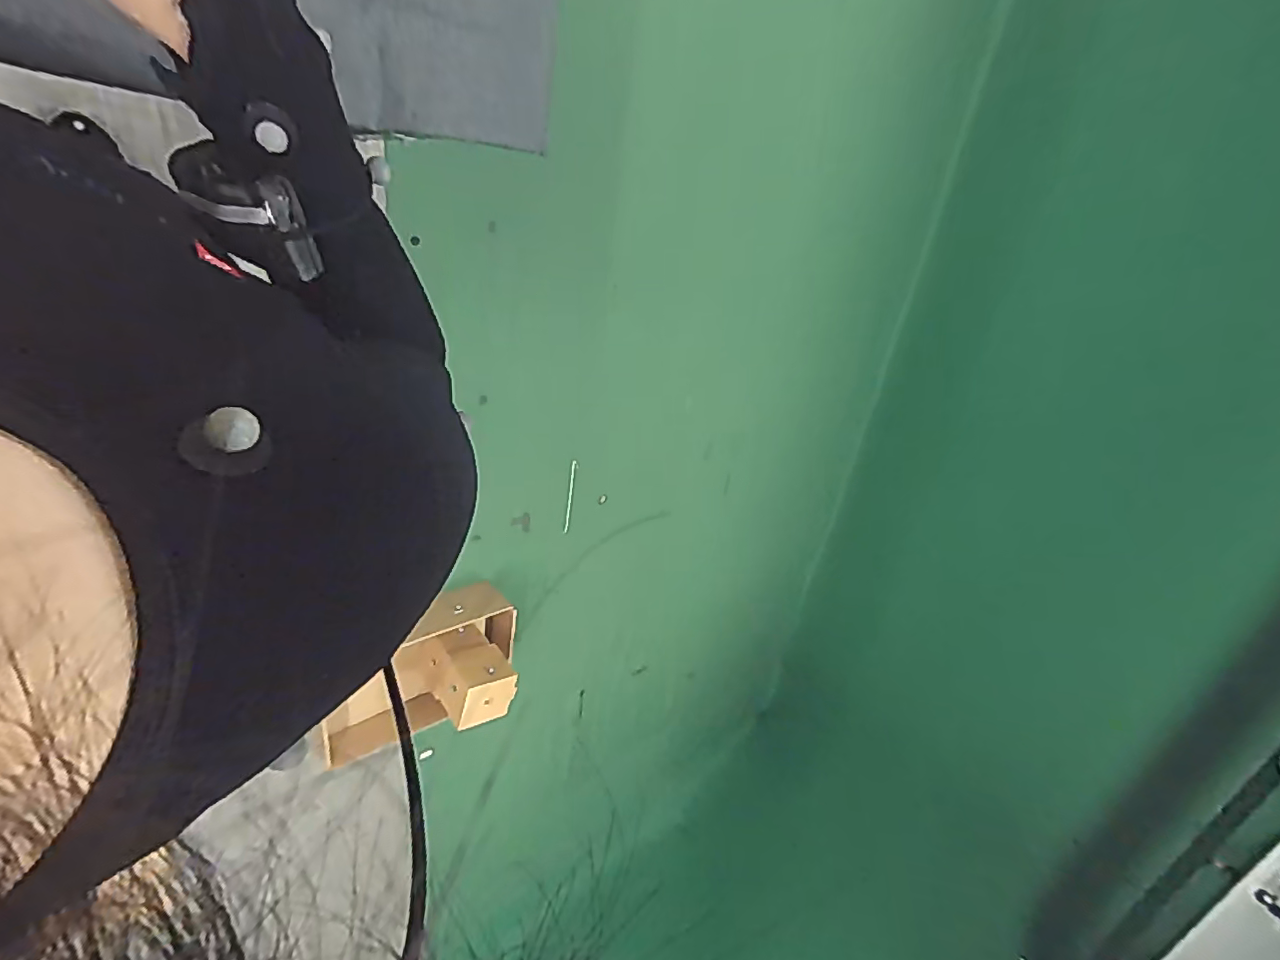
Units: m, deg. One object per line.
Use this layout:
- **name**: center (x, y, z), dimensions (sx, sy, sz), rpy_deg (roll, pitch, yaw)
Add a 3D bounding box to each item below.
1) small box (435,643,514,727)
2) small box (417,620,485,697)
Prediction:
- **small box**: center (-0.540, 0.657, 1.751), dimensions (0.179, 0.176, 0.168), rpy_deg (0, 115, -46)
- **small box**: center (-0.648, 0.609, 1.864), dimensions (0.168, 0.176, 0.179), rpy_deg (7, 109, -48)
